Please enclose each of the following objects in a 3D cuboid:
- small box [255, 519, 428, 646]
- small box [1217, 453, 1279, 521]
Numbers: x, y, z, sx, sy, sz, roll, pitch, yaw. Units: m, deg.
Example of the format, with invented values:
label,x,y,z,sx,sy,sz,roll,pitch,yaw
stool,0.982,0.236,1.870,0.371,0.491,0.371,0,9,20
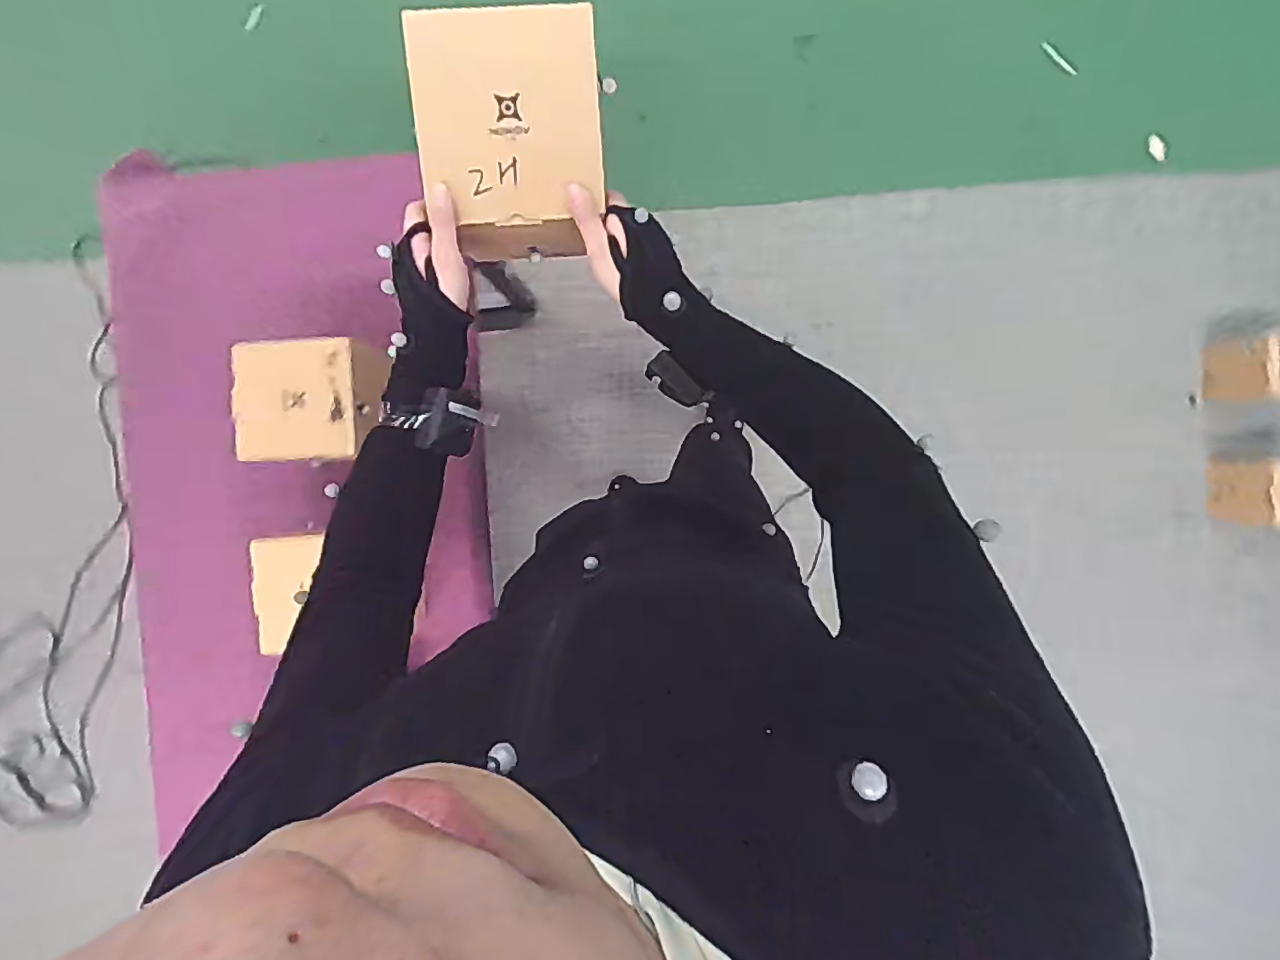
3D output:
label,x,y,z,sx,sy,sz,roll,pitch,yaw
small box,-0.463,0.156,0.861,0.179,0.176,0.168,-4,92,4
small box,1.700,0.014,1.429,0.179,0.176,0.168,-5,91,5
